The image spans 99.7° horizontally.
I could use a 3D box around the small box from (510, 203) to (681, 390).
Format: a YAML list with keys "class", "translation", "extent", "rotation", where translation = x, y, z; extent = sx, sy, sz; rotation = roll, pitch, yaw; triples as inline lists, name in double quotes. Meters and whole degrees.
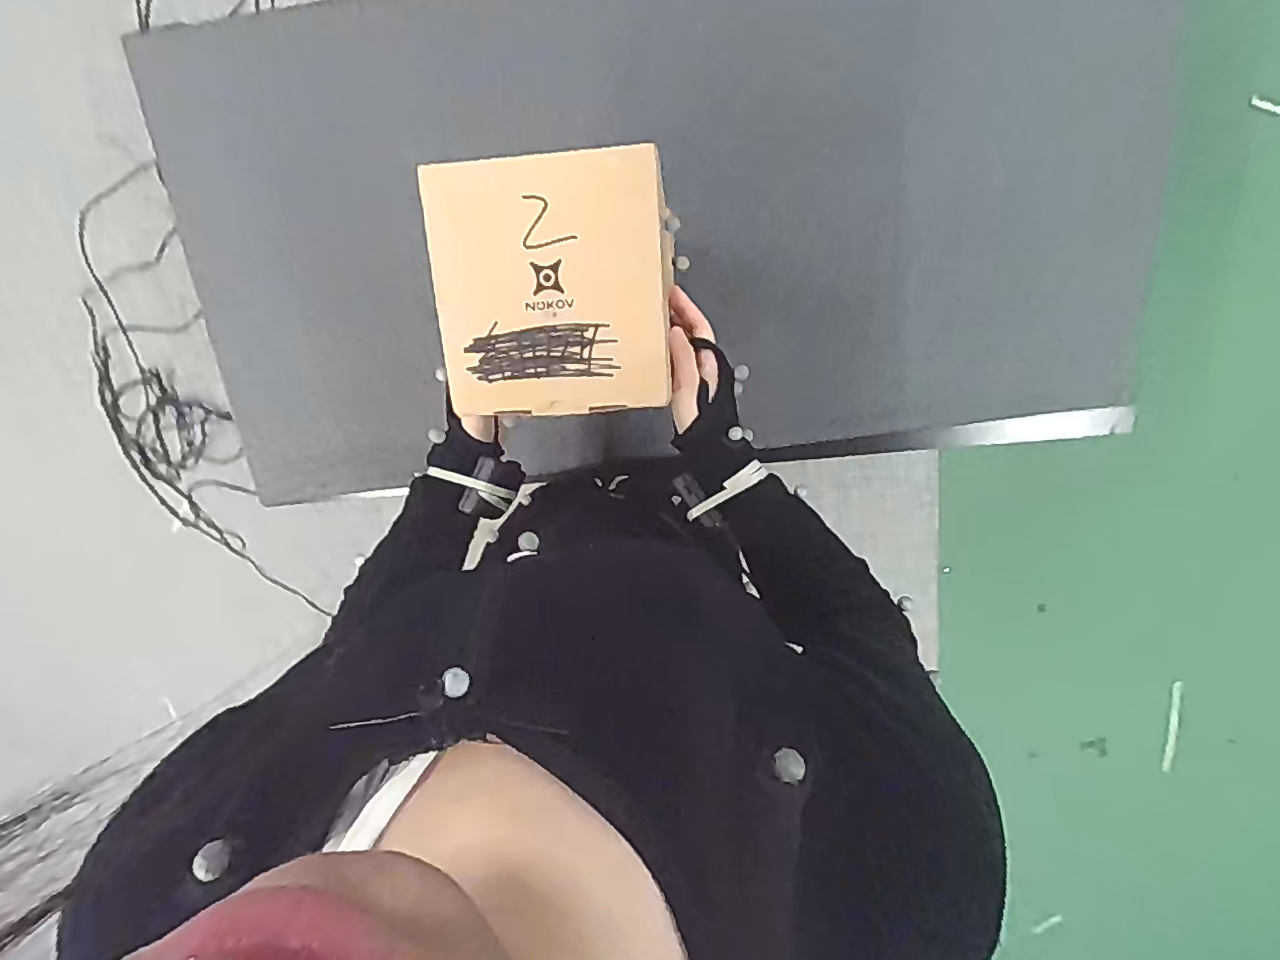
- class: "small box"
  translation: [-0.038, -0.199, 0.617]
  extent: [0.168, 0.176, 0.179]
  rotation: [-1, 105, 5]
